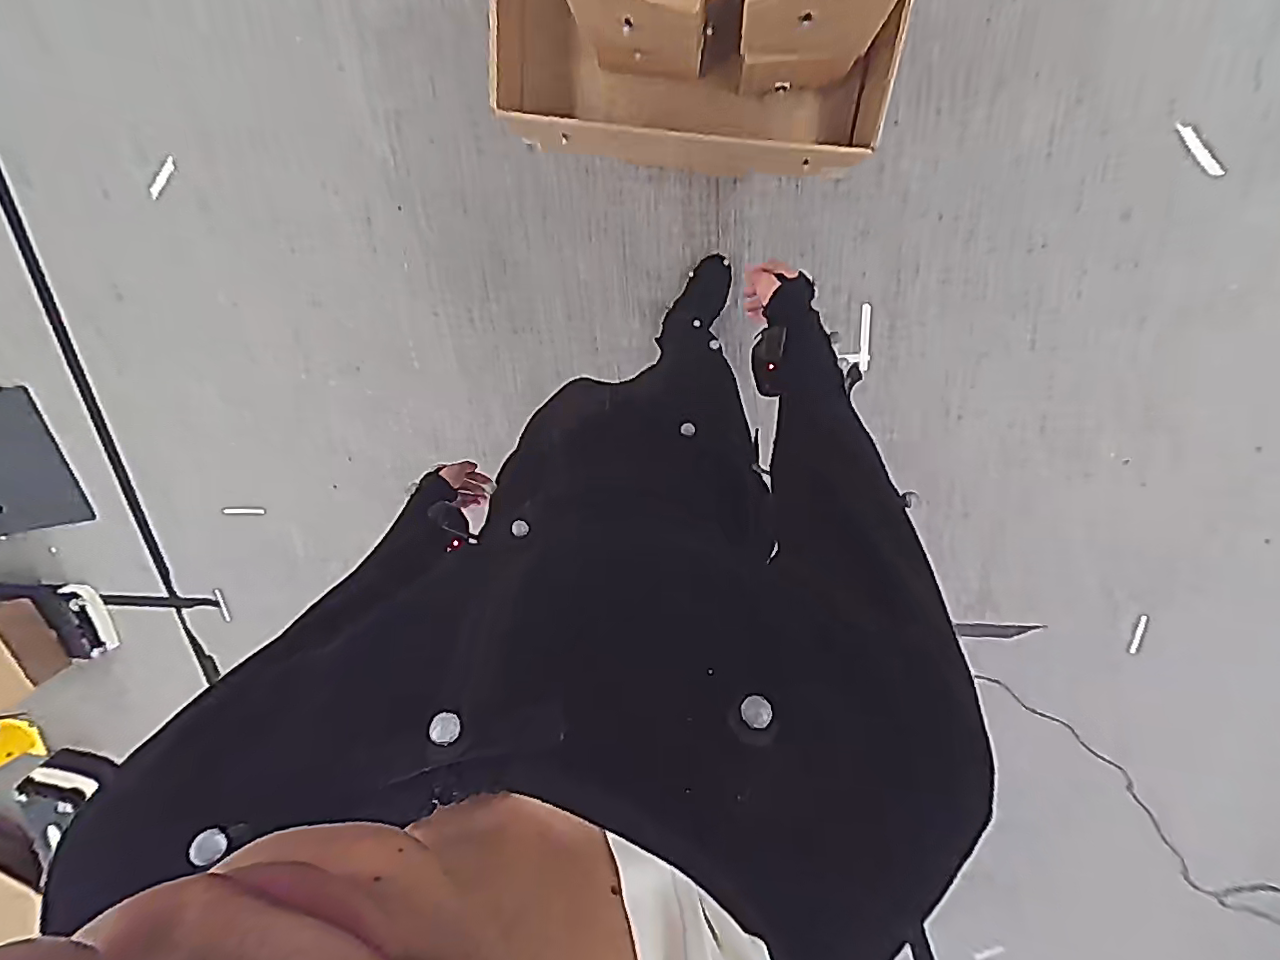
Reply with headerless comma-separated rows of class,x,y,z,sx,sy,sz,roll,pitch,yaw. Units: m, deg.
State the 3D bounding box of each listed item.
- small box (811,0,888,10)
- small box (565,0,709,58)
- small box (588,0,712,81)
small box,0.200,-0.595,0.506,0.168,0.176,0.179,11,111,5
small box,0.010,-0.669,0.682,0.179,0.176,0.168,14,111,1
small box,0.023,-0.741,0.829,0.179,0.176,0.168,9,111,2
